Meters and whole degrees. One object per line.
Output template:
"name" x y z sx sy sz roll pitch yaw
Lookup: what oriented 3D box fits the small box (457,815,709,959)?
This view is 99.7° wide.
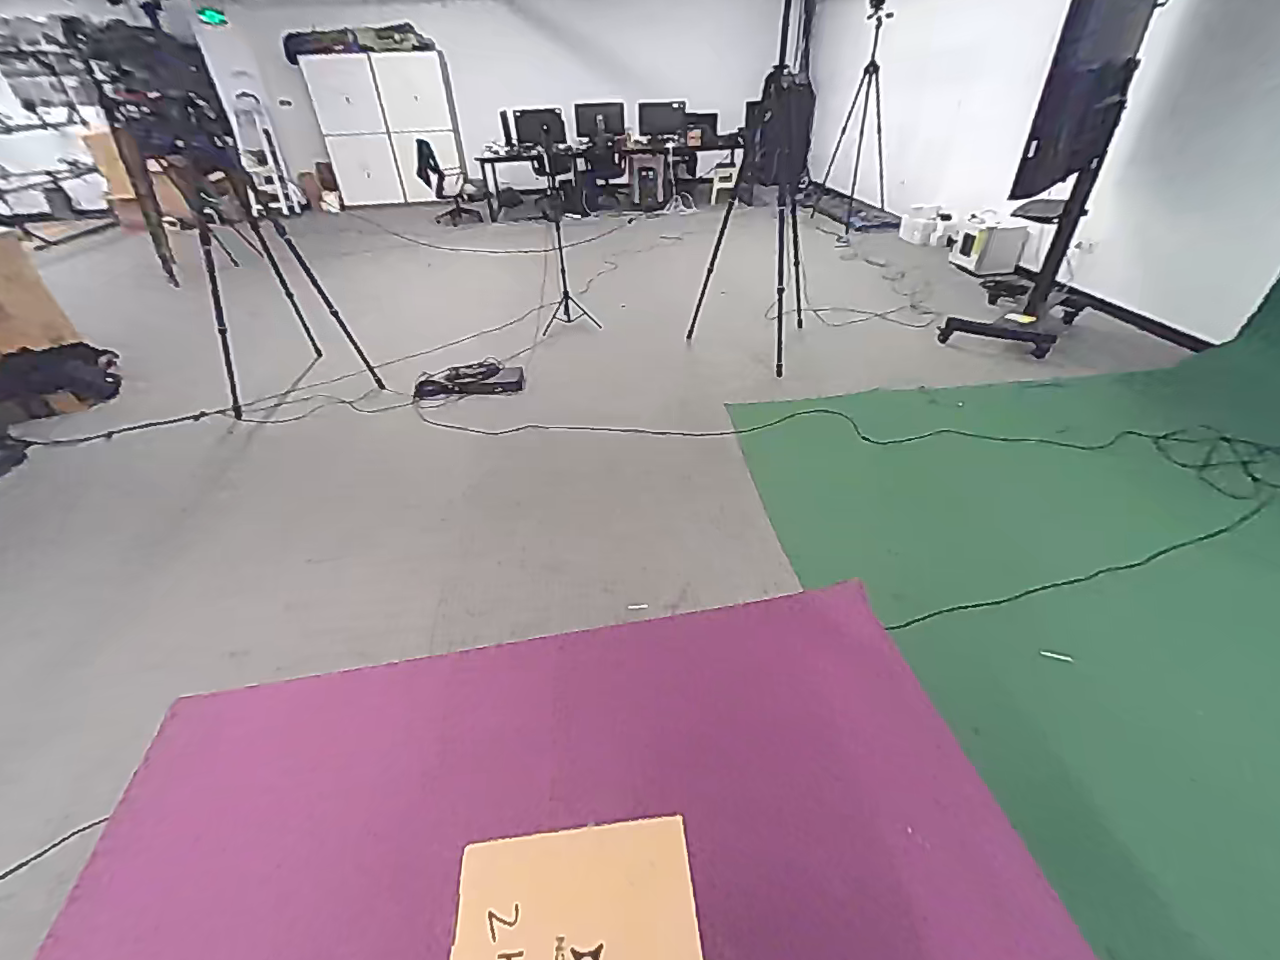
"small box" -0.036 0.388 0.424 0.179 0.176 0.168 -6 42 -2
